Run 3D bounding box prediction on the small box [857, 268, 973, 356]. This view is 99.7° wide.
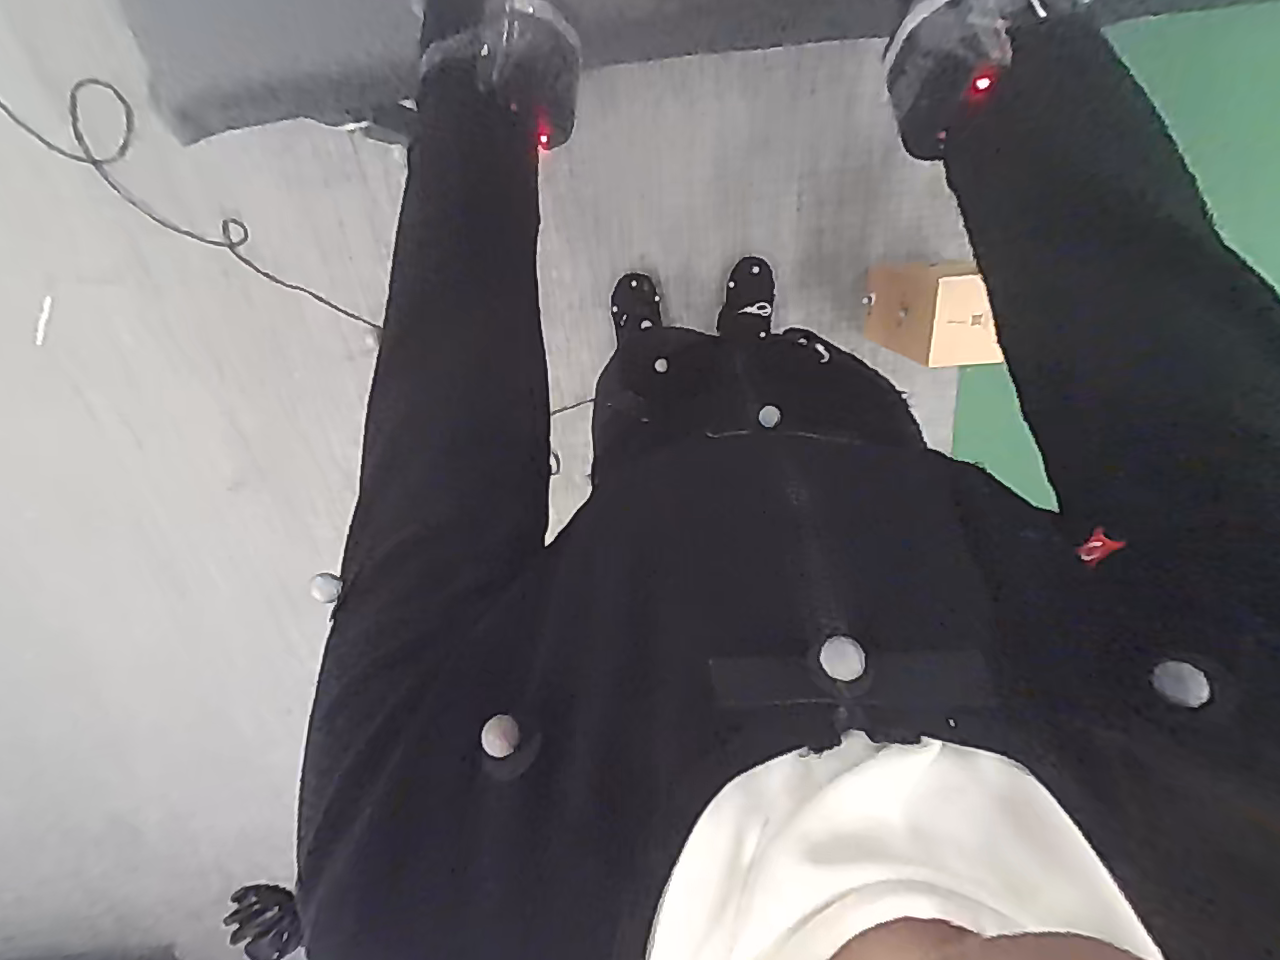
[{"bbox_3d":[0.617,-0.386,1.231,0.179,0.176,0.168,-4,114,3],"label":"small box"}]

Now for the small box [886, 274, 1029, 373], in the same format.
[{"bbox_3d":[0.621,-0.317,1.081,0.179,0.176,0.168,-3,114,2],"label":"small box"}]
